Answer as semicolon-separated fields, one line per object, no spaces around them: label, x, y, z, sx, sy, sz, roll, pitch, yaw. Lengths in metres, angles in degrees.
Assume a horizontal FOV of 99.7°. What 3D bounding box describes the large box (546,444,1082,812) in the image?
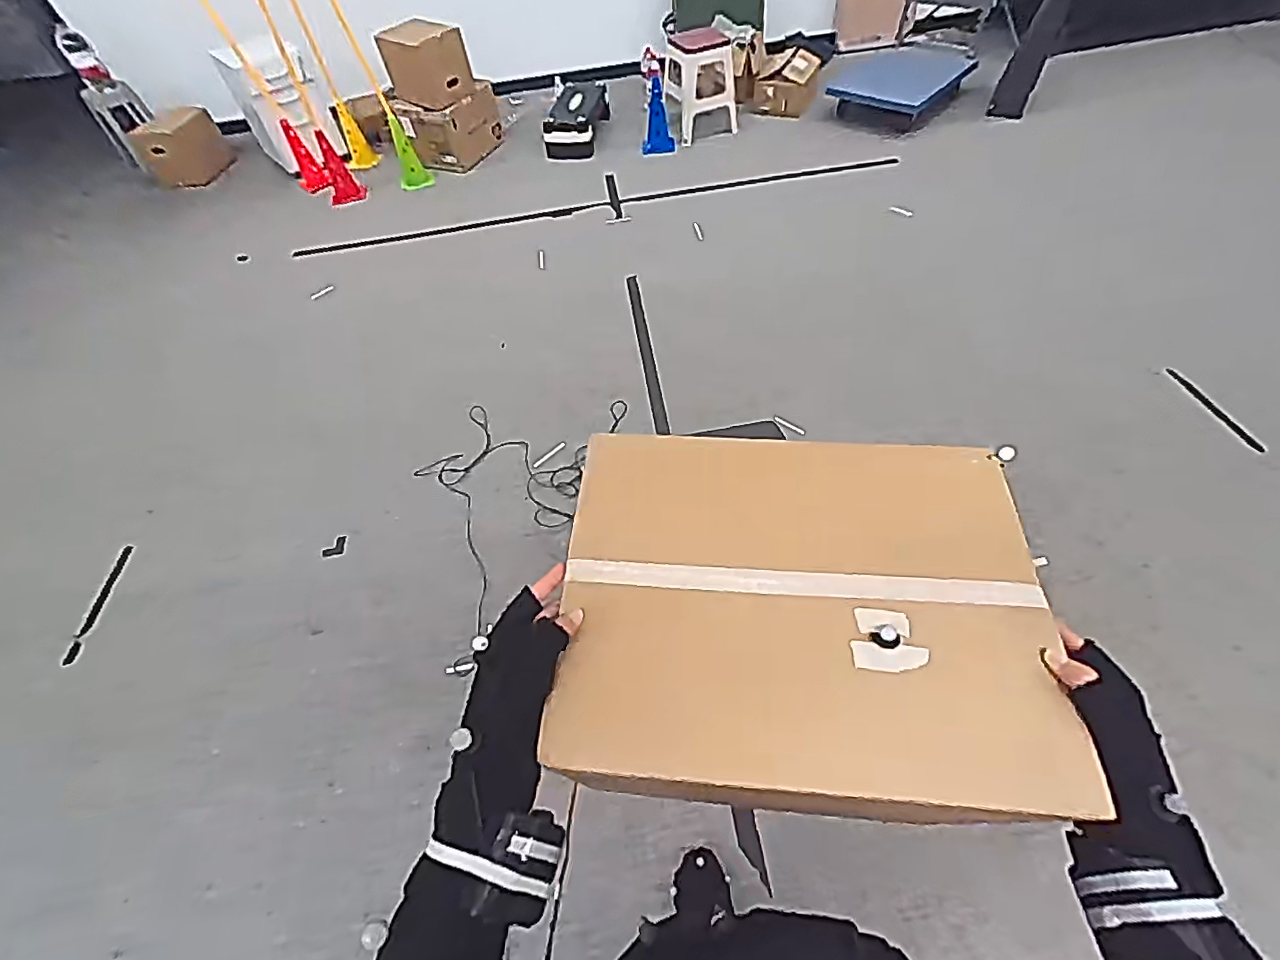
large box;0.138;0.175;0.608;0.408;0.320;0.320;2;57;5
